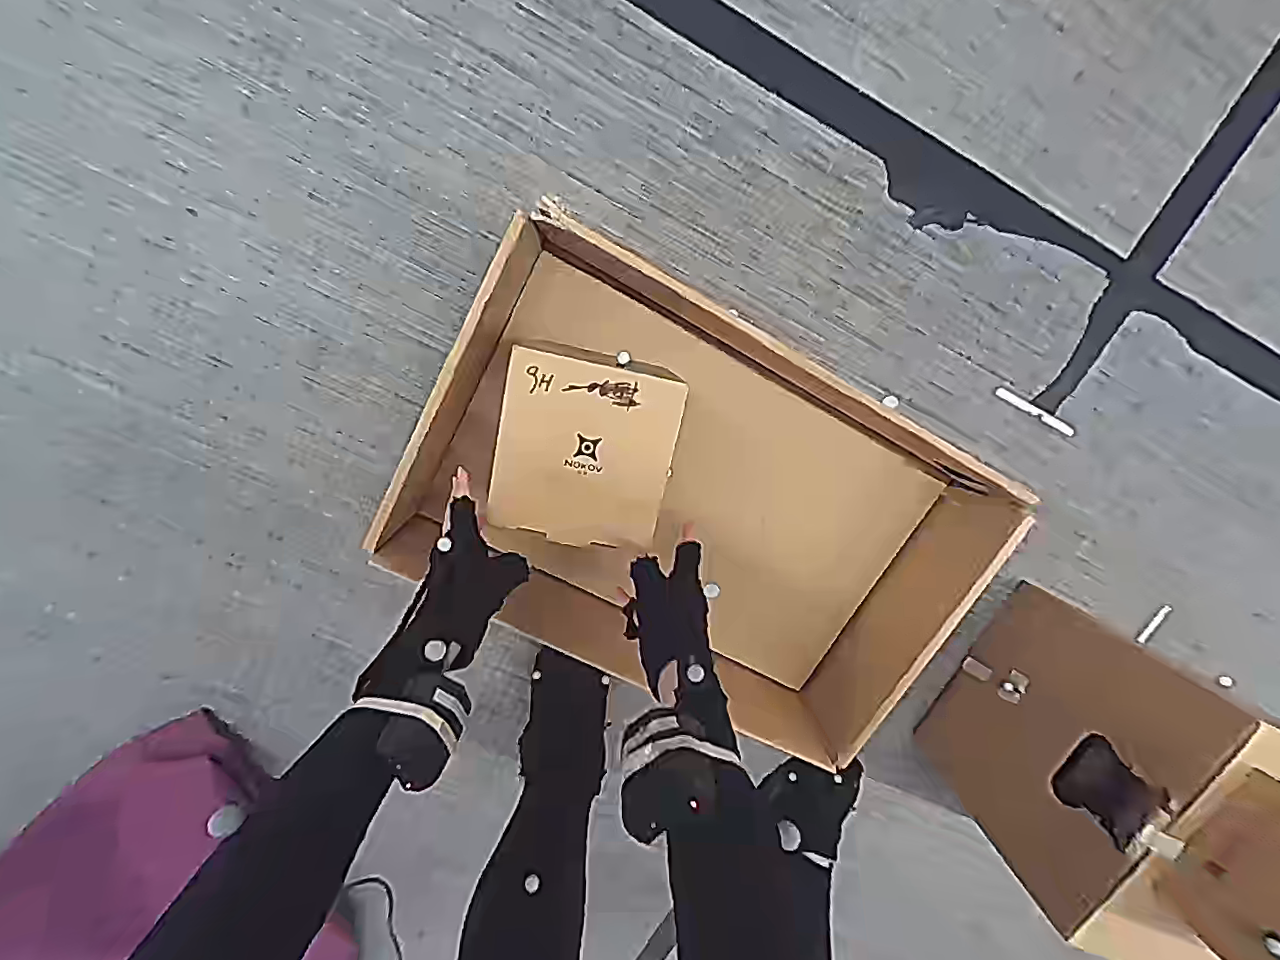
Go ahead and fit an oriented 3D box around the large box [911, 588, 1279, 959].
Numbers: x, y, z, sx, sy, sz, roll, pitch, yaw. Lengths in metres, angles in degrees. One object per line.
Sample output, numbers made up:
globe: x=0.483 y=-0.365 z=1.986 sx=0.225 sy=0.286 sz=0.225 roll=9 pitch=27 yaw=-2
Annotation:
large box: x=0.684 y=0.404 z=0.740 sx=0.408 sy=0.320 sz=0.320 roll=25 pitch=102 yaw=-11
